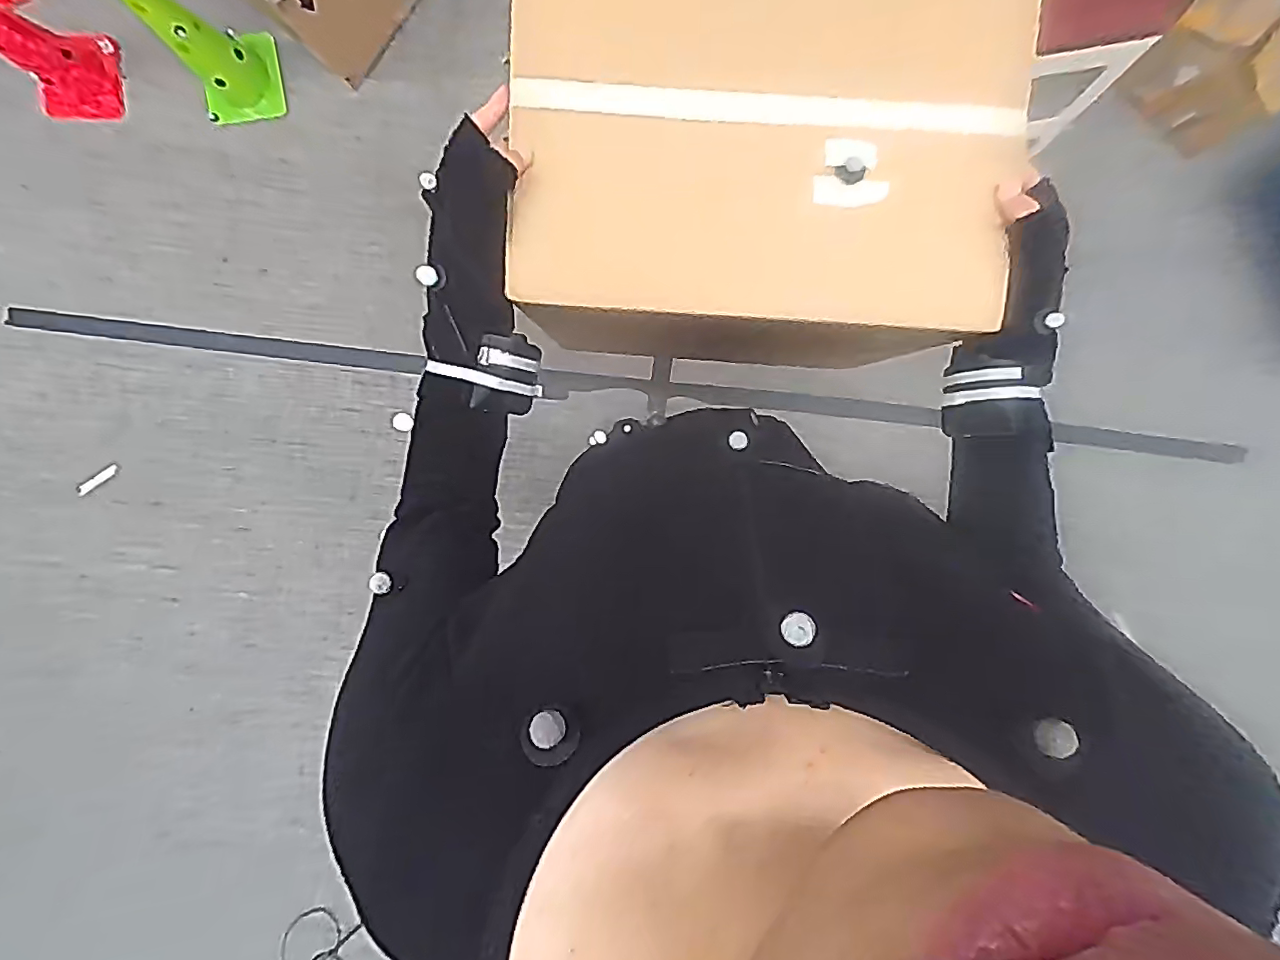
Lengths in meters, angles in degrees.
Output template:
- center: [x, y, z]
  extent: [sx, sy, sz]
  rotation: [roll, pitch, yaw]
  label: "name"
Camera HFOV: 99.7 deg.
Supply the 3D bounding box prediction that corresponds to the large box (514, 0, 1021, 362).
- center: [0.096, -0.309, 0.583]
  extent: [0.408, 0.320, 0.320]
  rotation: [3, 96, -1]
  label: "large box"
